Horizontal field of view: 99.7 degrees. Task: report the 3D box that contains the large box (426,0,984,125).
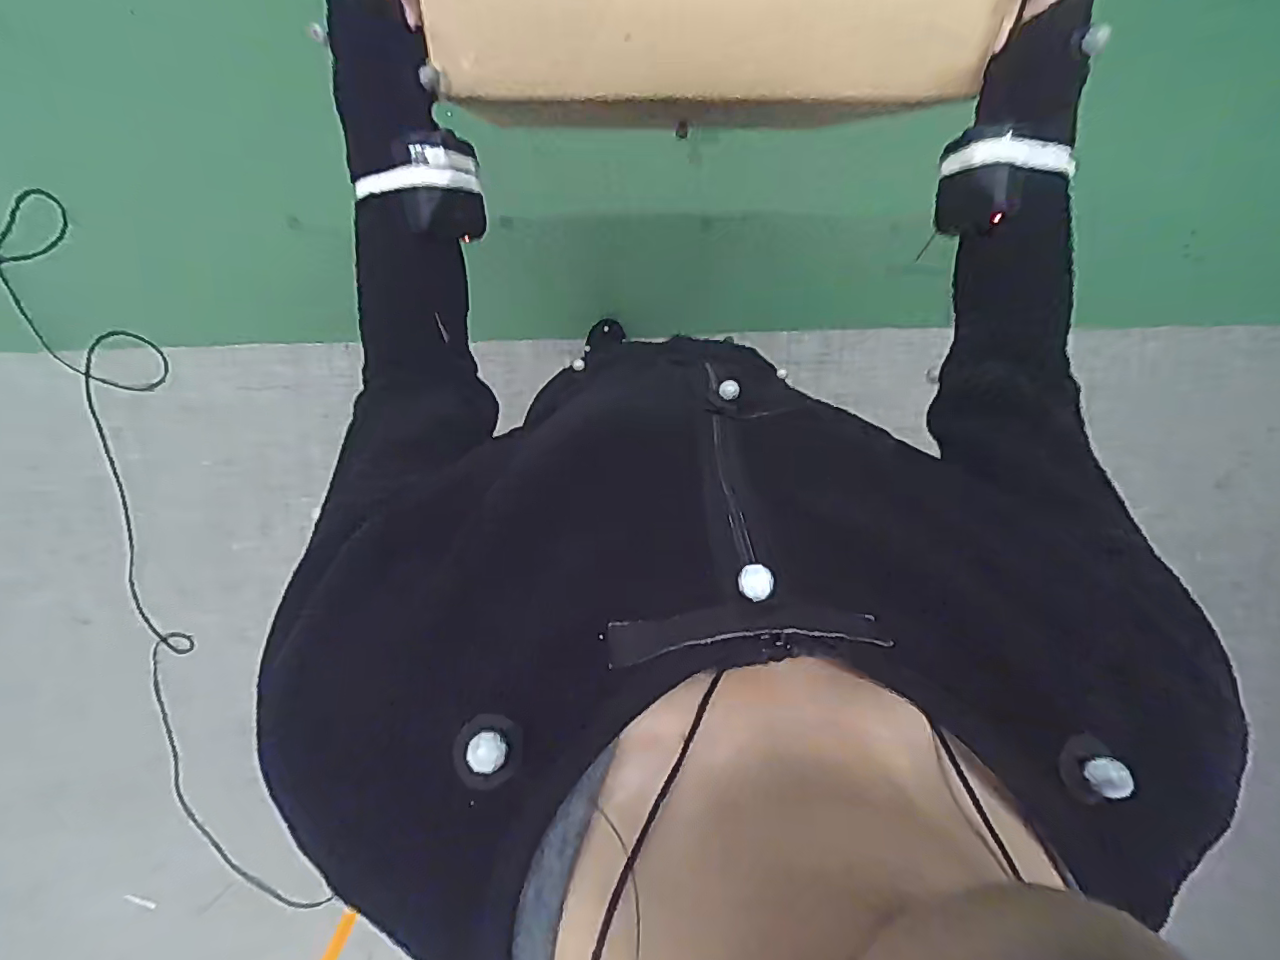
[{"bbox_3d":[0.040,-0.496,0.457,0.408,0.320,0.320,-3,119,-3],"label":"large box"}]
